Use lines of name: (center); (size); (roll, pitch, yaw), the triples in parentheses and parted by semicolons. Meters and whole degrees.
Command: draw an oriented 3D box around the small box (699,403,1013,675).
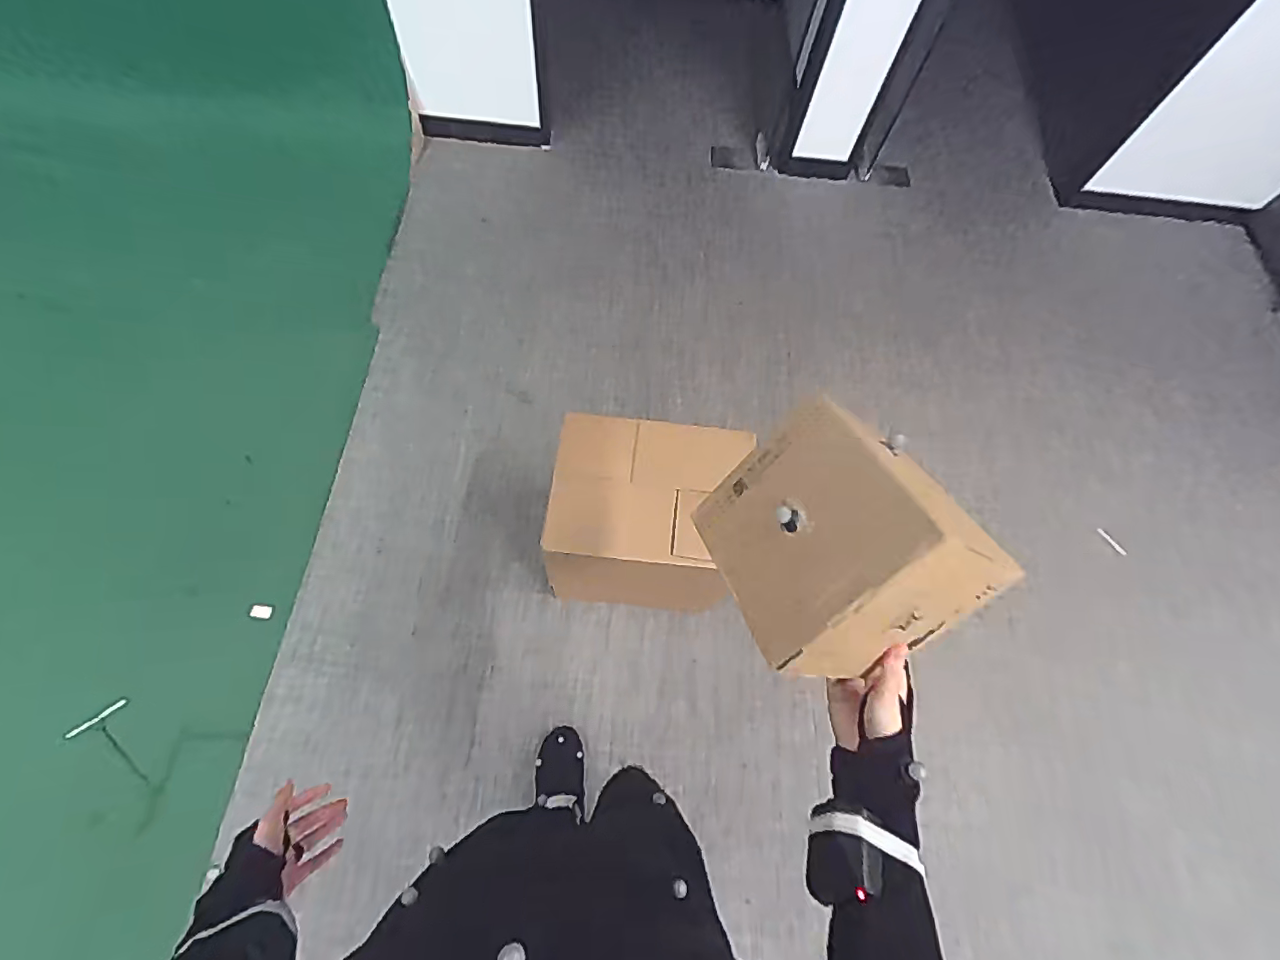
small box: (0.184, 0.054, 0.499); (0.179, 0.168, 0.176); (21, 31, -37)
